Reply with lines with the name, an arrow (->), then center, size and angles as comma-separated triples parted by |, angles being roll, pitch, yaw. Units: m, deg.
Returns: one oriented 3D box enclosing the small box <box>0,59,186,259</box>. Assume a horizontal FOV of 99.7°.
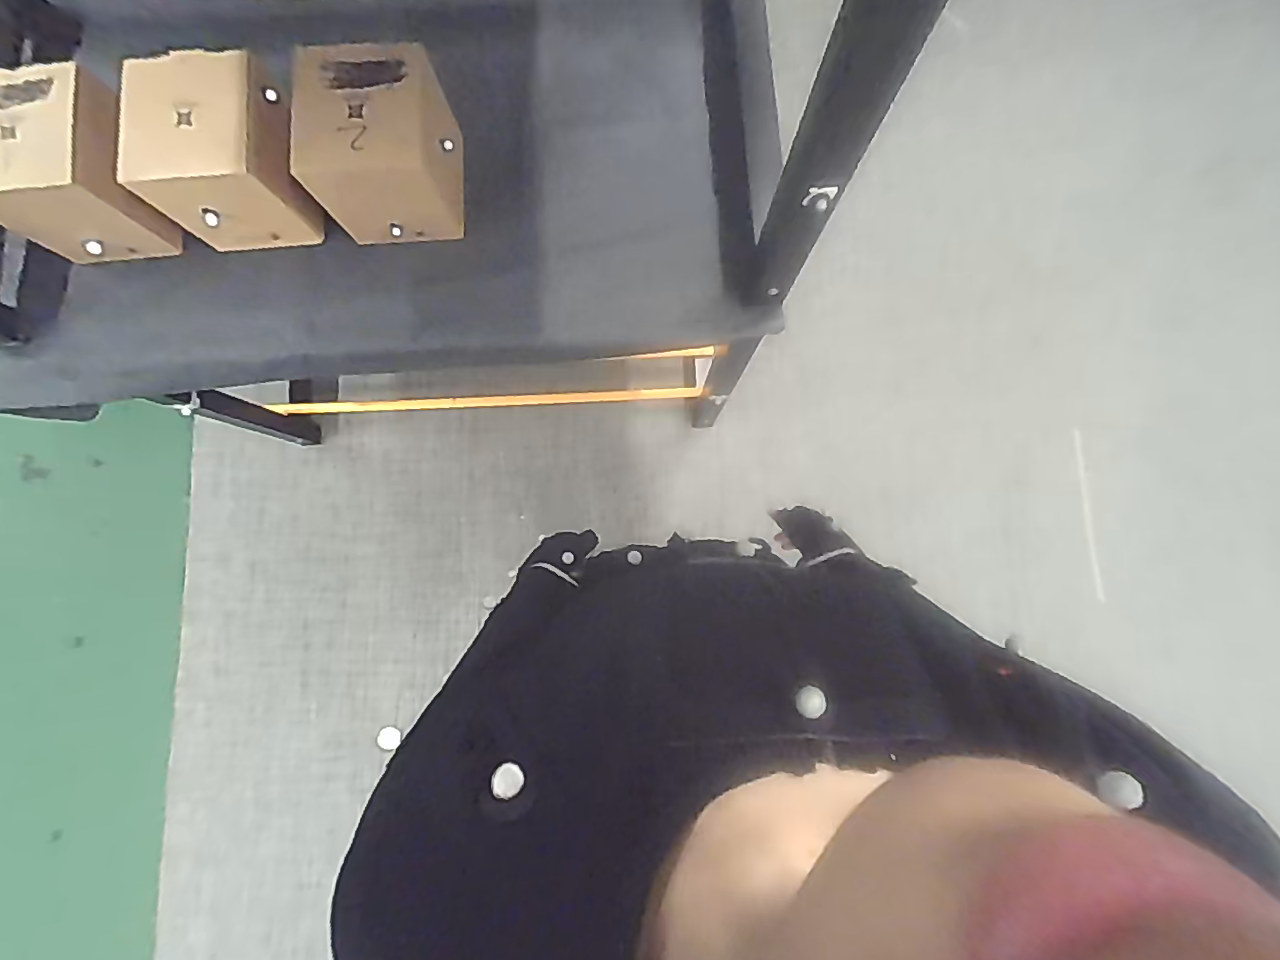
small box -> -0.792, -0.443, 0.768 | 0.168, 0.176, 0.179 | -5, 83, 0
